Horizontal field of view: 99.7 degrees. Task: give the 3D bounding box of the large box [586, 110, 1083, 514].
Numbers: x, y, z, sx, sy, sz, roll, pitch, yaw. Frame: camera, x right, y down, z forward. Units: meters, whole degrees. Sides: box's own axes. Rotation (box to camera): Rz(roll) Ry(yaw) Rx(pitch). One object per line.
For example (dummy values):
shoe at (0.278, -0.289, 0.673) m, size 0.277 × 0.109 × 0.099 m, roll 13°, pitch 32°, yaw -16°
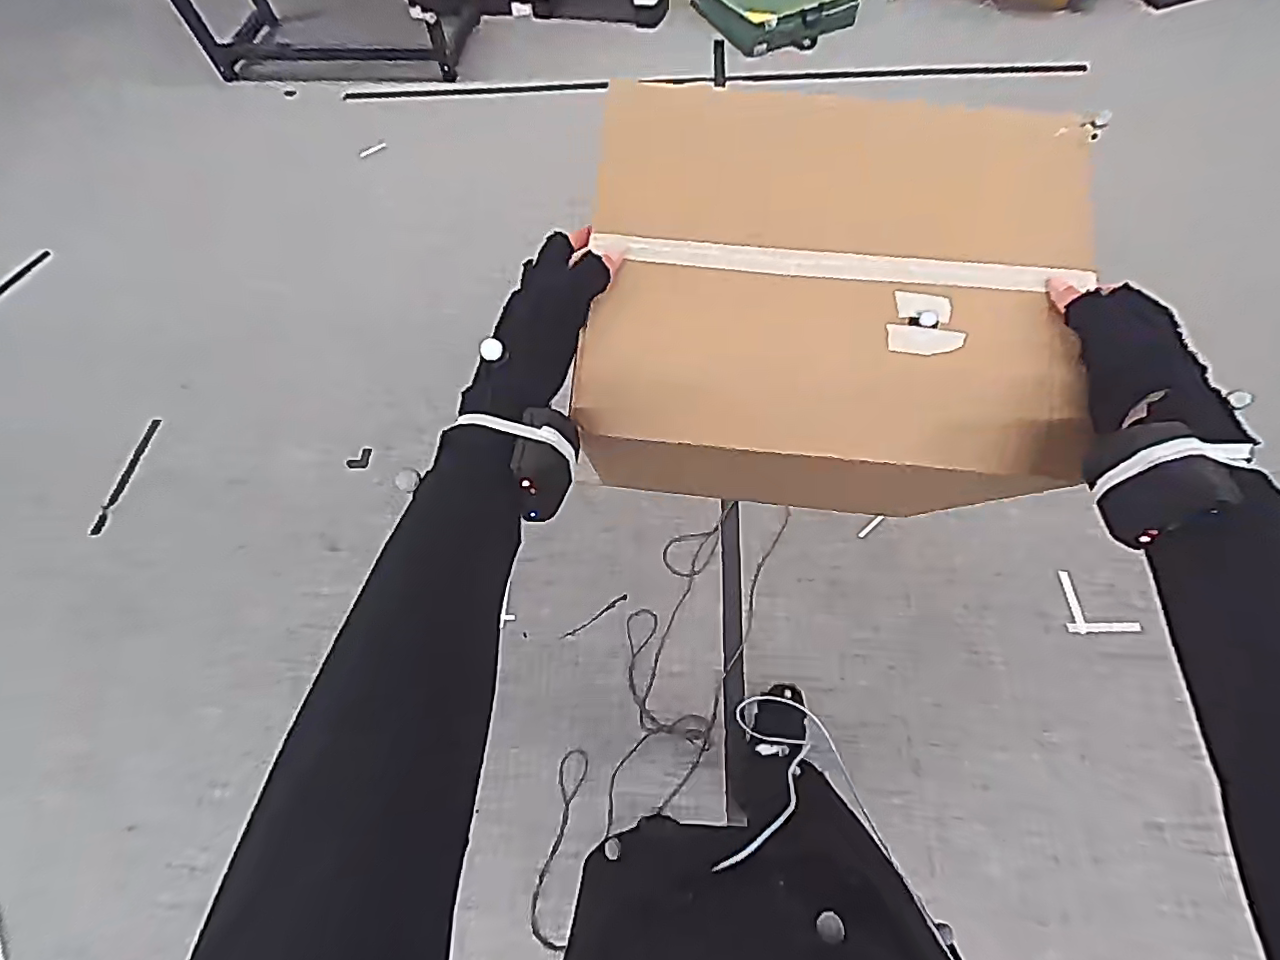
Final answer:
large box at (0.167, -0.144, 0.601) m, size 0.408 × 0.320 × 0.320 m, roll 6°, pitch 82°, yaw 2°
